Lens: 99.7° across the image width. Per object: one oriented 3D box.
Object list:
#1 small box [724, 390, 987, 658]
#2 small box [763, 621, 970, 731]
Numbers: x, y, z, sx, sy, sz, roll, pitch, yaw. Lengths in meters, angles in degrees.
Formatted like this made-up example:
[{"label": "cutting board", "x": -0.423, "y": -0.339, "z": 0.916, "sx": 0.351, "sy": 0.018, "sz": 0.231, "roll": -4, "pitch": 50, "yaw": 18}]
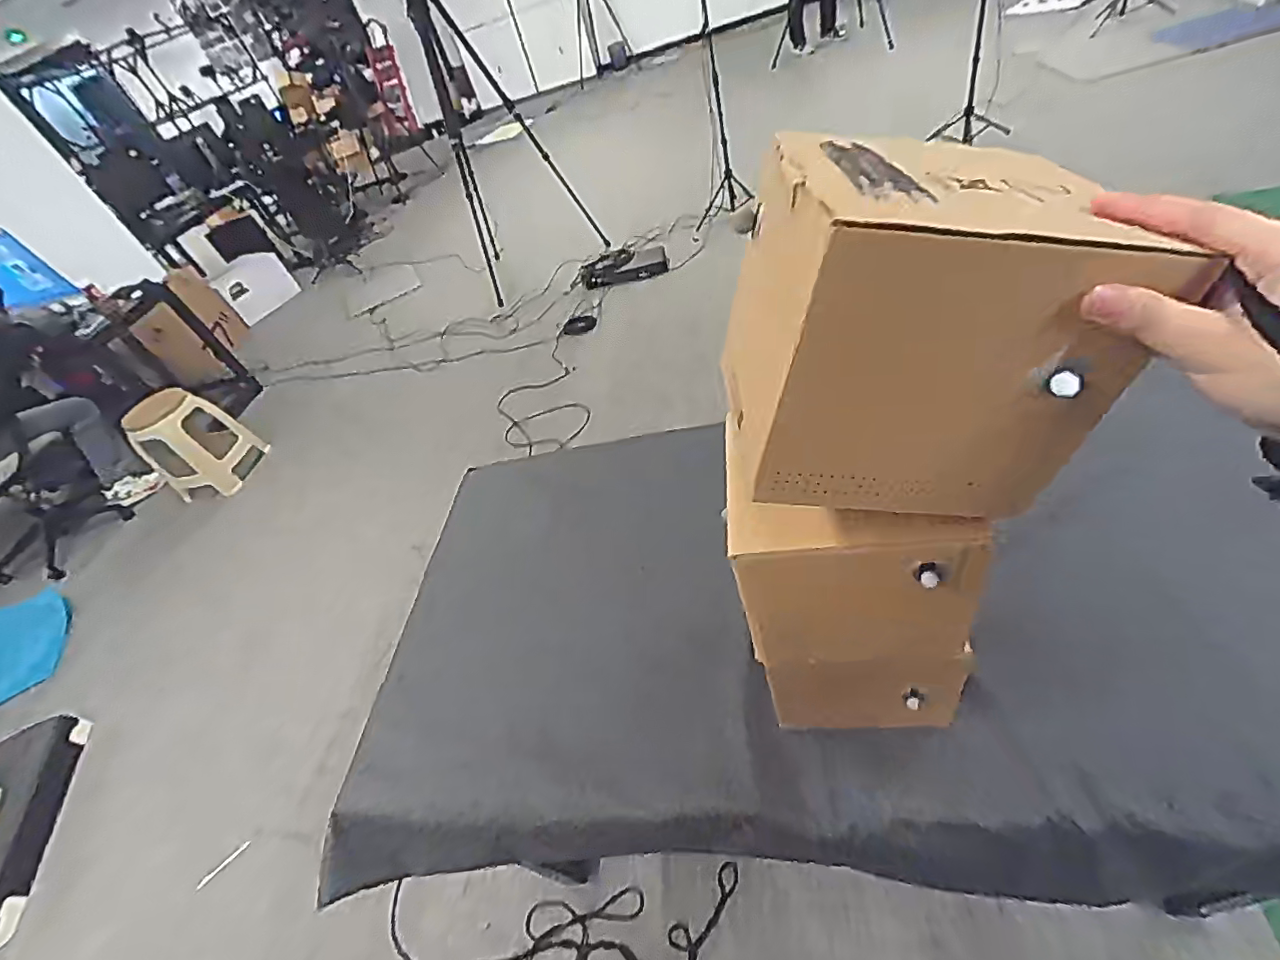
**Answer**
[{"label": "small box", "x": 0.175, "y": 0.046, "z": 0.481, "sx": 0.179, "sy": 0.176, "sz": 0.168, "roll": -6, "pitch": 44, "yaw": 15}, {"label": "small box", "x": 0.226, "y": 0.158, "z": 0.587, "sx": 0.179, "sy": 0.176, "sz": 0.168, "roll": -9, "pitch": 43, "yaw": 15}]
